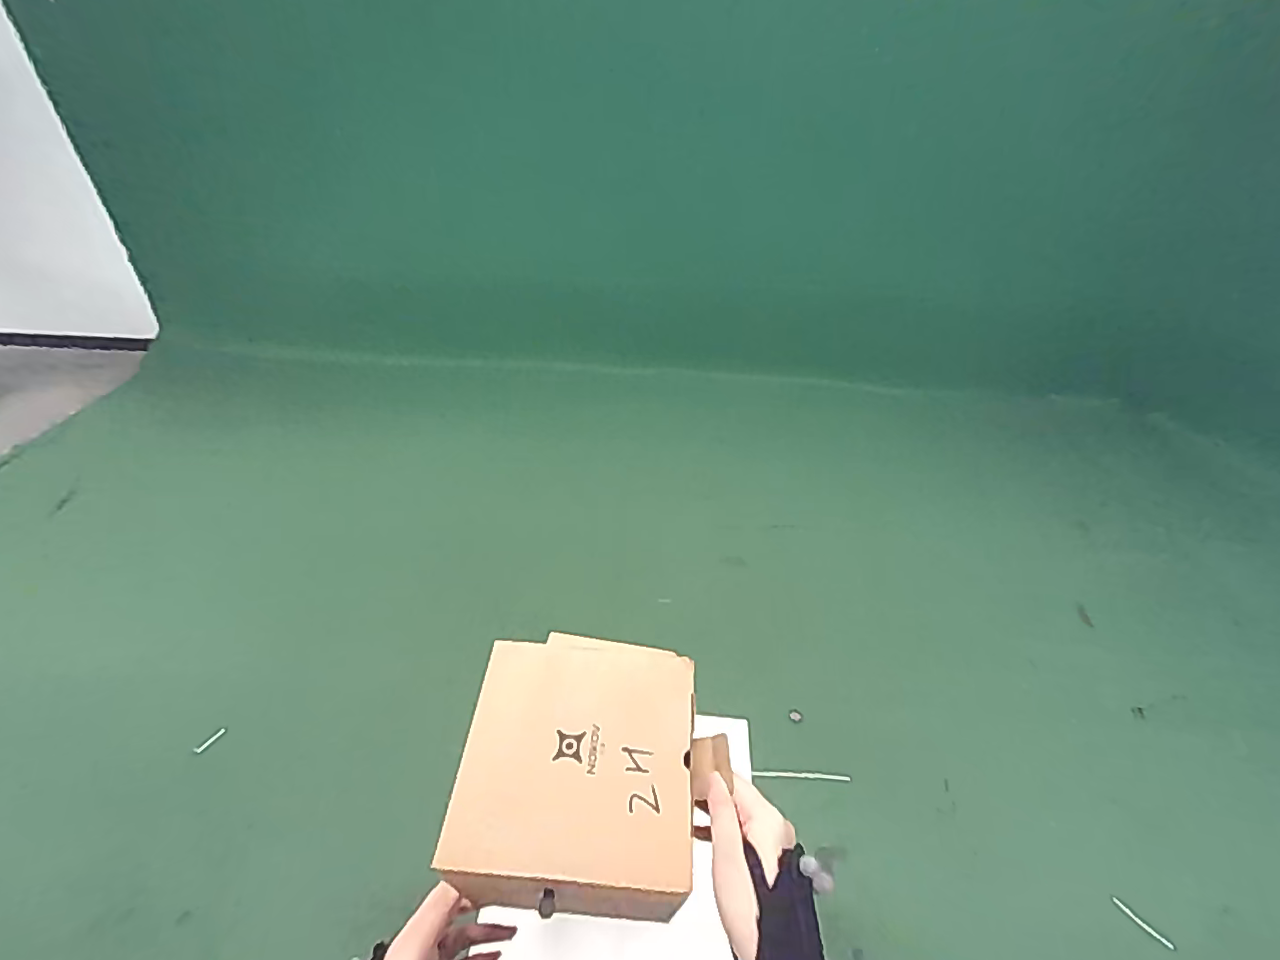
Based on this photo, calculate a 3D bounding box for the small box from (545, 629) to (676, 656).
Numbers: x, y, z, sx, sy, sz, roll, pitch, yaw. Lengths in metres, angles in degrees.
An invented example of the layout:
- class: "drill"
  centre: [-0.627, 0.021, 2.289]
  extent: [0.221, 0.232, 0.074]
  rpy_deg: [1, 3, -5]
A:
- class: "small box"
  centre: [-0.053, 0.323, 0.704]
  extent: [0.179, 0.176, 0.168]
  rpy_deg: [8, 37, 4]

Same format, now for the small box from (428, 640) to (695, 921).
- class: "small box"
  centre: [-0.050, 0.256, 0.458]
  extent: [0.179, 0.176, 0.168]
  rpy_deg: [6, 46, 0]
